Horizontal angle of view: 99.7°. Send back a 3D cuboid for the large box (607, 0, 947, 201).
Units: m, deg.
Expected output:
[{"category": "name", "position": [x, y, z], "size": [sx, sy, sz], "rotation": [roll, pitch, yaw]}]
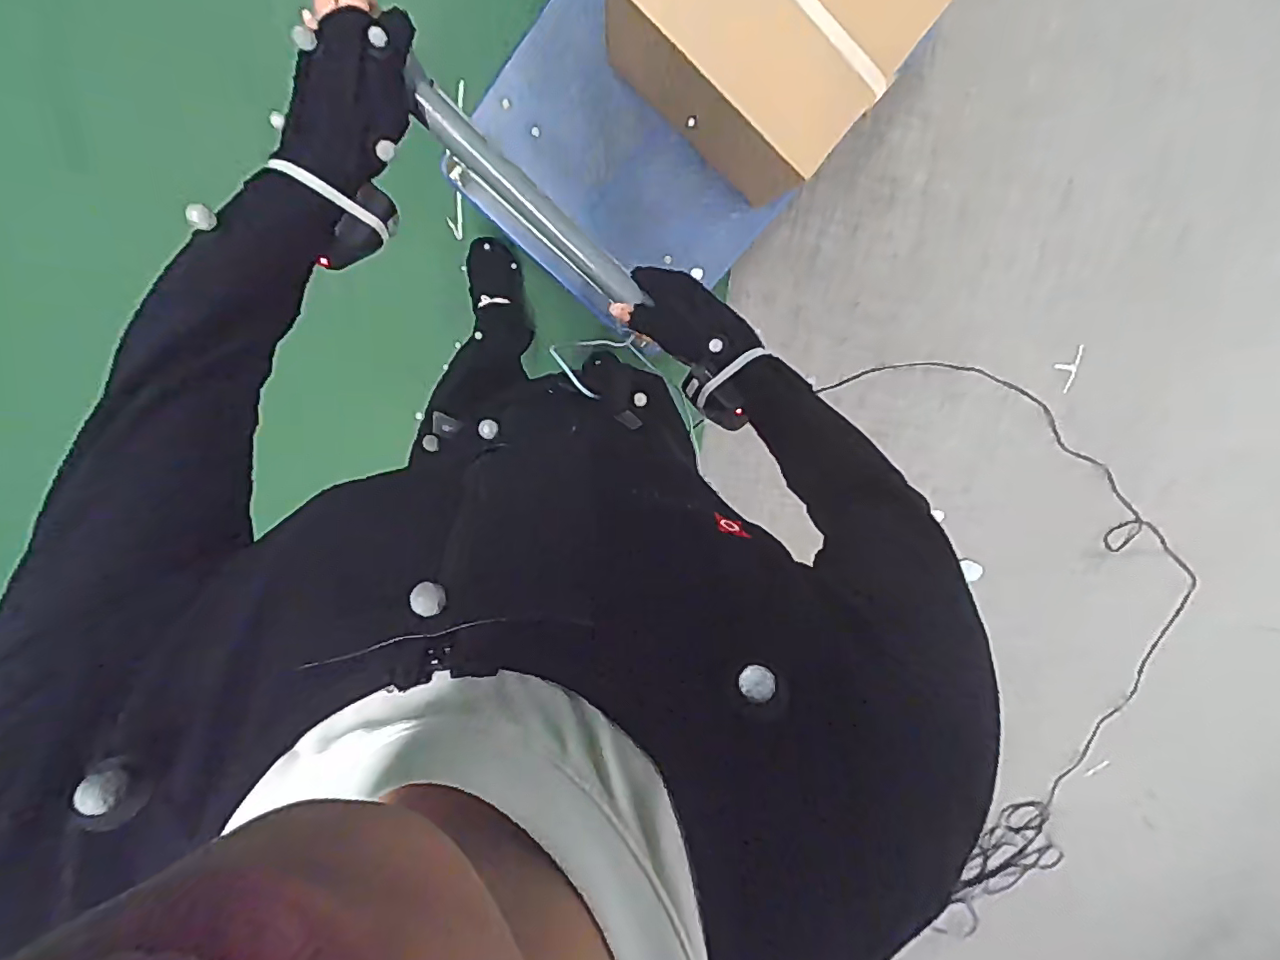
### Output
[{"category": "large box", "position": [0.196, -0.748, 0.901], "size": [0.408, 0.320, 0.320], "rotation": [38, 103, -14]}]
